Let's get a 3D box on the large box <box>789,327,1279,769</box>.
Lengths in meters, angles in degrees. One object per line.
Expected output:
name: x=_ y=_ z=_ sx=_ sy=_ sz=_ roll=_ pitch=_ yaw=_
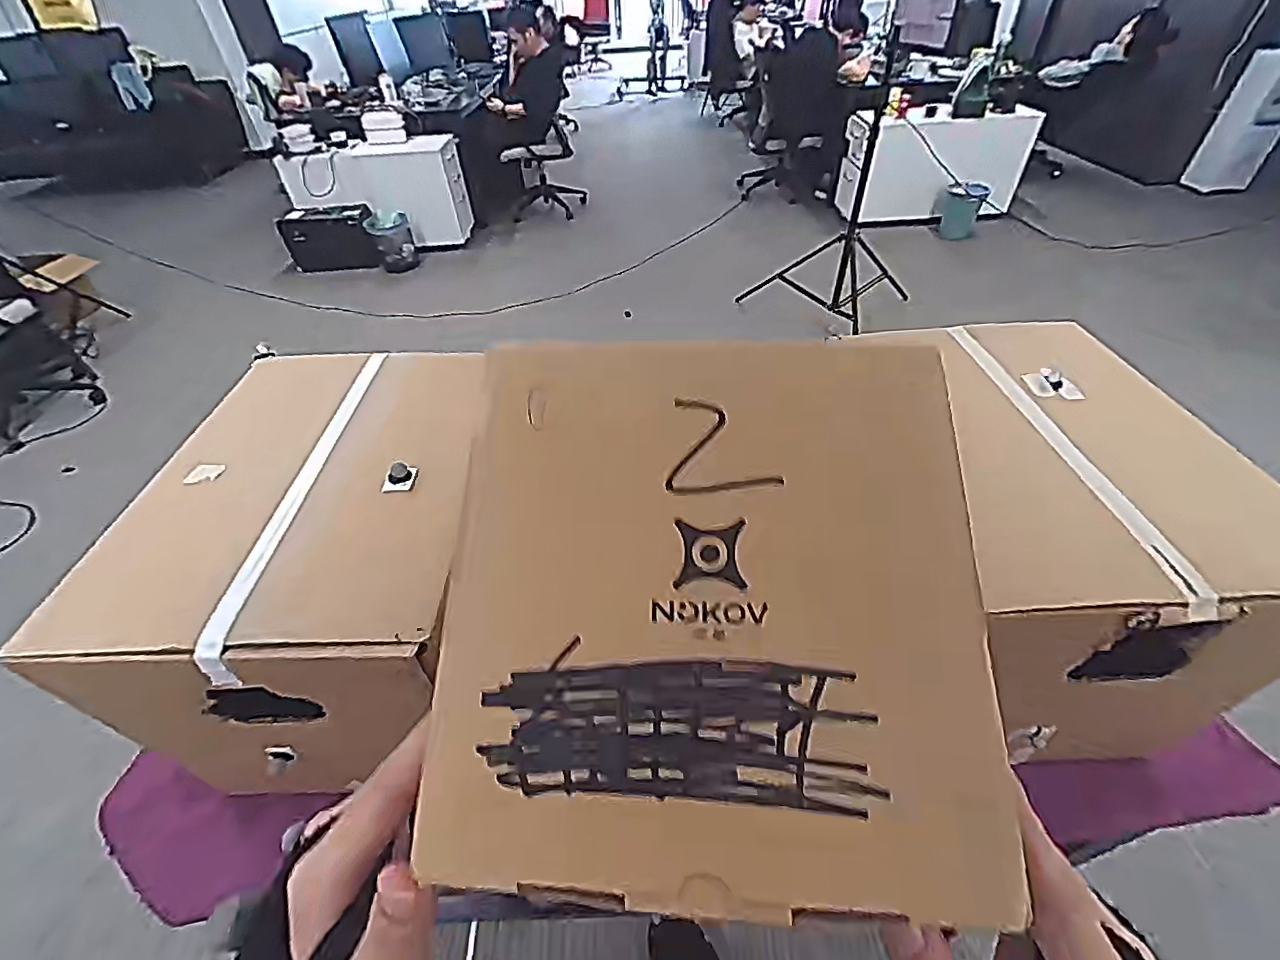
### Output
large box: x=0.390 y=0.063 z=0.632 sx=0.320 sy=0.320 sz=0.408 roll=-3 pitch=42 yaw=0
